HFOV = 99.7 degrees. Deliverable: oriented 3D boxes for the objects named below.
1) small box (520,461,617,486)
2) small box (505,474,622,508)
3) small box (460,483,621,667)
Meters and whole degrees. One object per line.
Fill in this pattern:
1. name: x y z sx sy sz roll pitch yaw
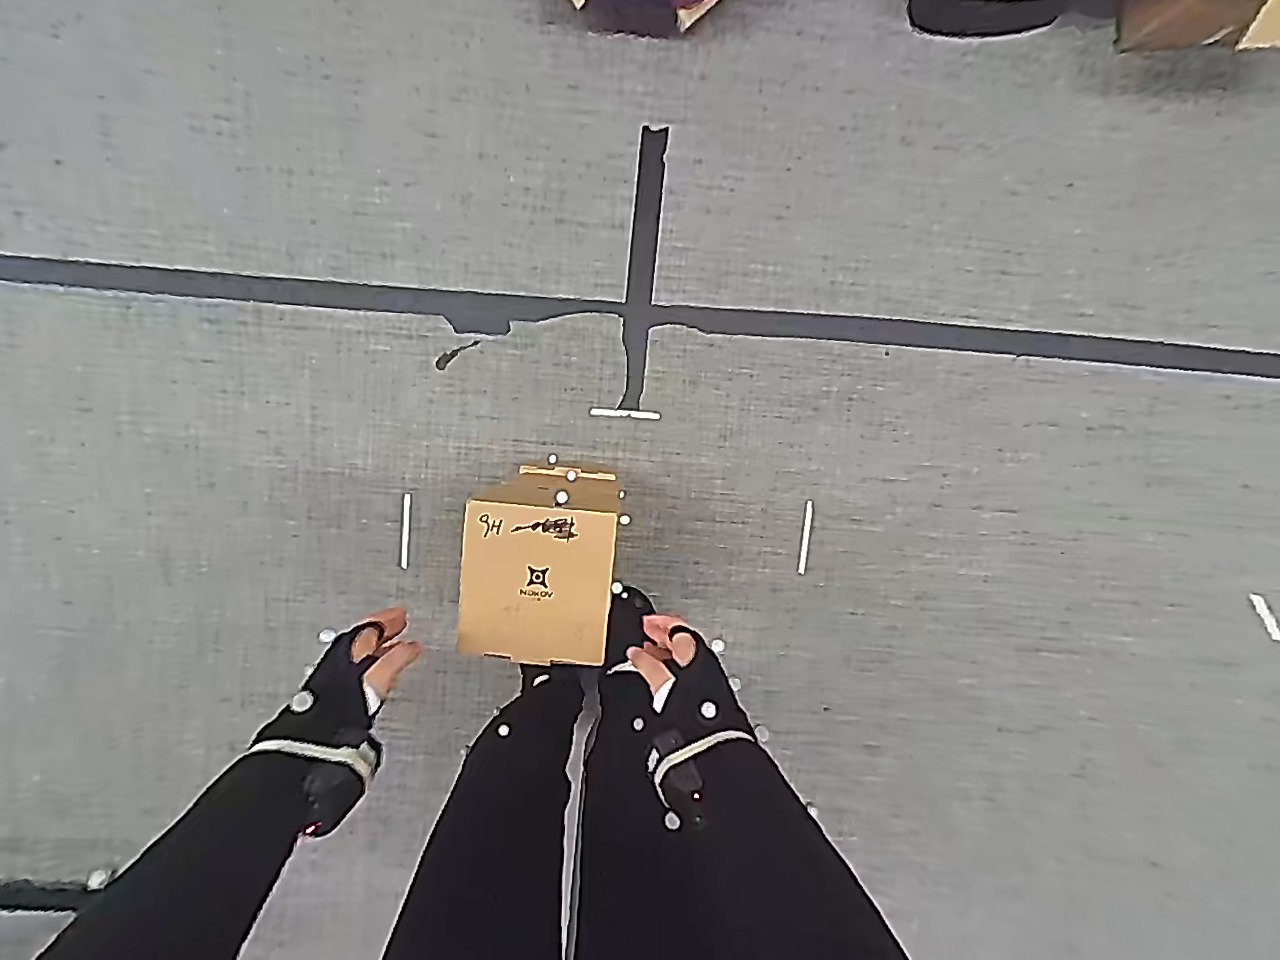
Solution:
1. small box: -0.130 0.061 0.997 0.168 0.176 0.179 4 97 -1
2. small box: -0.118 0.088 0.834 0.168 0.176 0.179 5 96 -1
3. small box: -0.113 0.107 0.671 0.168 0.176 0.179 5 97 -2
